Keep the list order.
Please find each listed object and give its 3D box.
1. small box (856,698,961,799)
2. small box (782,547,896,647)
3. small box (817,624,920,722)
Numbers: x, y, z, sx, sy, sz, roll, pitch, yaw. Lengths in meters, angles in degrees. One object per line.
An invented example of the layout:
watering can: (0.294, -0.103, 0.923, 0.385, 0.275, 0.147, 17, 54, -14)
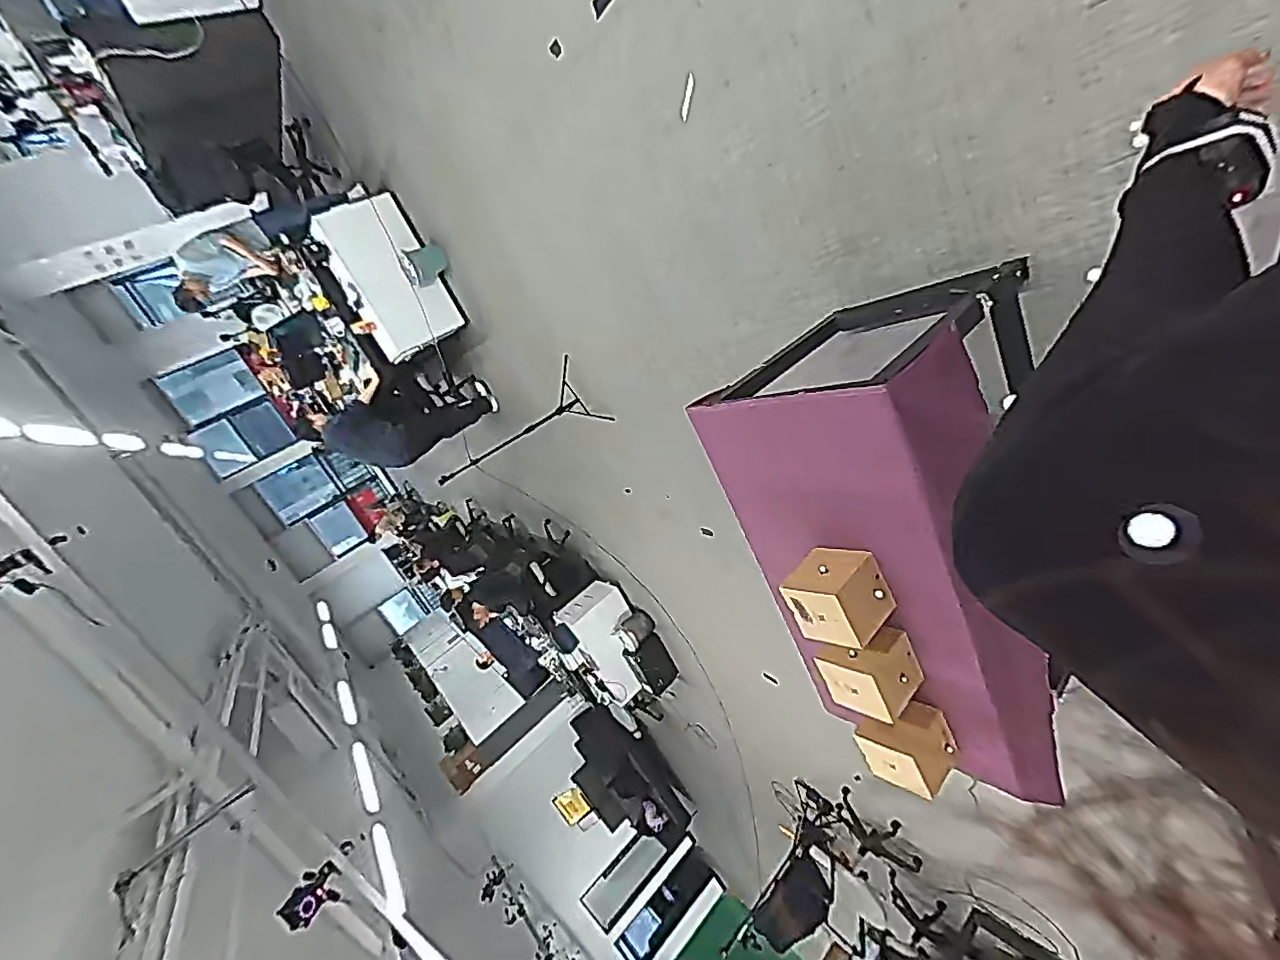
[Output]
small box: (0.738, 0.717, 1.483, 0.179, 0.176, 0.168, -3, 120, 59)
small box: (0.496, 0.282, 1.346, 0.179, 0.176, 0.168, -6, 118, 59)
small box: (0.606, 0.486, 1.416, 0.179, 0.176, 0.168, 0, 123, 58)
